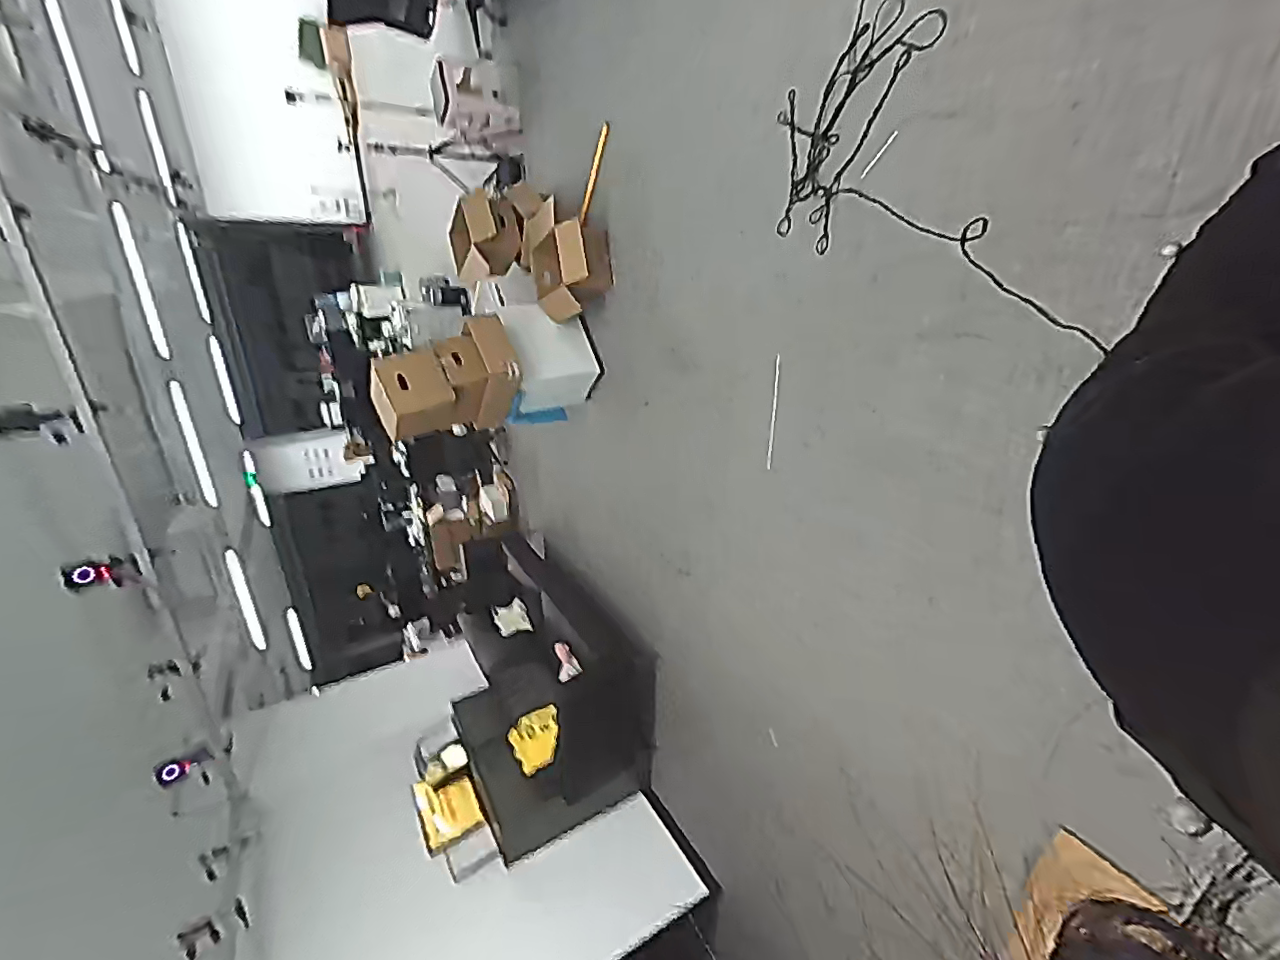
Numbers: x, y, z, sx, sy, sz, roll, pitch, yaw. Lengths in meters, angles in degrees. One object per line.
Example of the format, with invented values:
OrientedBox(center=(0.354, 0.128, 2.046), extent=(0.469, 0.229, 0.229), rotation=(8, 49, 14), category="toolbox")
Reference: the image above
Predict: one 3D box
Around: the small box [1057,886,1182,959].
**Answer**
OrientedBox(center=(1.215, 1.188, 1.370), extent=(0.168, 0.176, 0.179), rotation=(38, 134, 50), category="small box")
